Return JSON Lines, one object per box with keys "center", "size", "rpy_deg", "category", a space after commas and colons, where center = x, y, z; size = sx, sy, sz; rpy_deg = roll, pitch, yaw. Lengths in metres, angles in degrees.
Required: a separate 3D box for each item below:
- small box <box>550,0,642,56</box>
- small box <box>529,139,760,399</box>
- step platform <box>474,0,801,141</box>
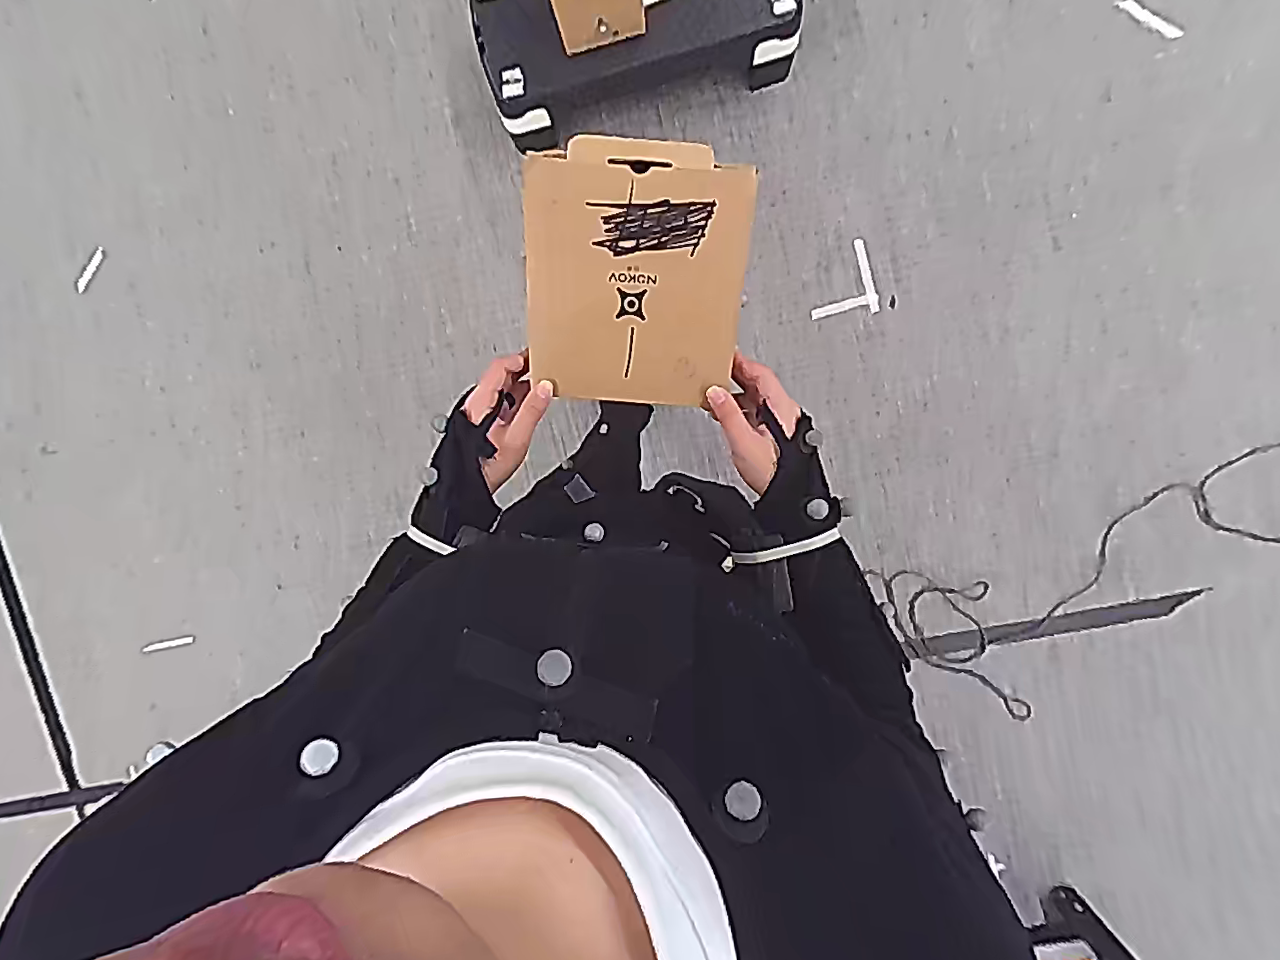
{"center": [-0.094, -0.955, 1.010], "size": [0.168, 0.176, 0.179], "rpy_deg": [-11, 94, 5], "category": "small box"}
{"center": [-0.001, -0.186, 0.484], "size": [0.168, 0.176, 0.179], "rpy_deg": [5, 116, 1], "category": "small box"}
{"center": [-0.005, -1.005, 1.175], "size": [0.684, 0.204, 0.286], "rpy_deg": [-13, 93, 6], "category": "step platform"}
